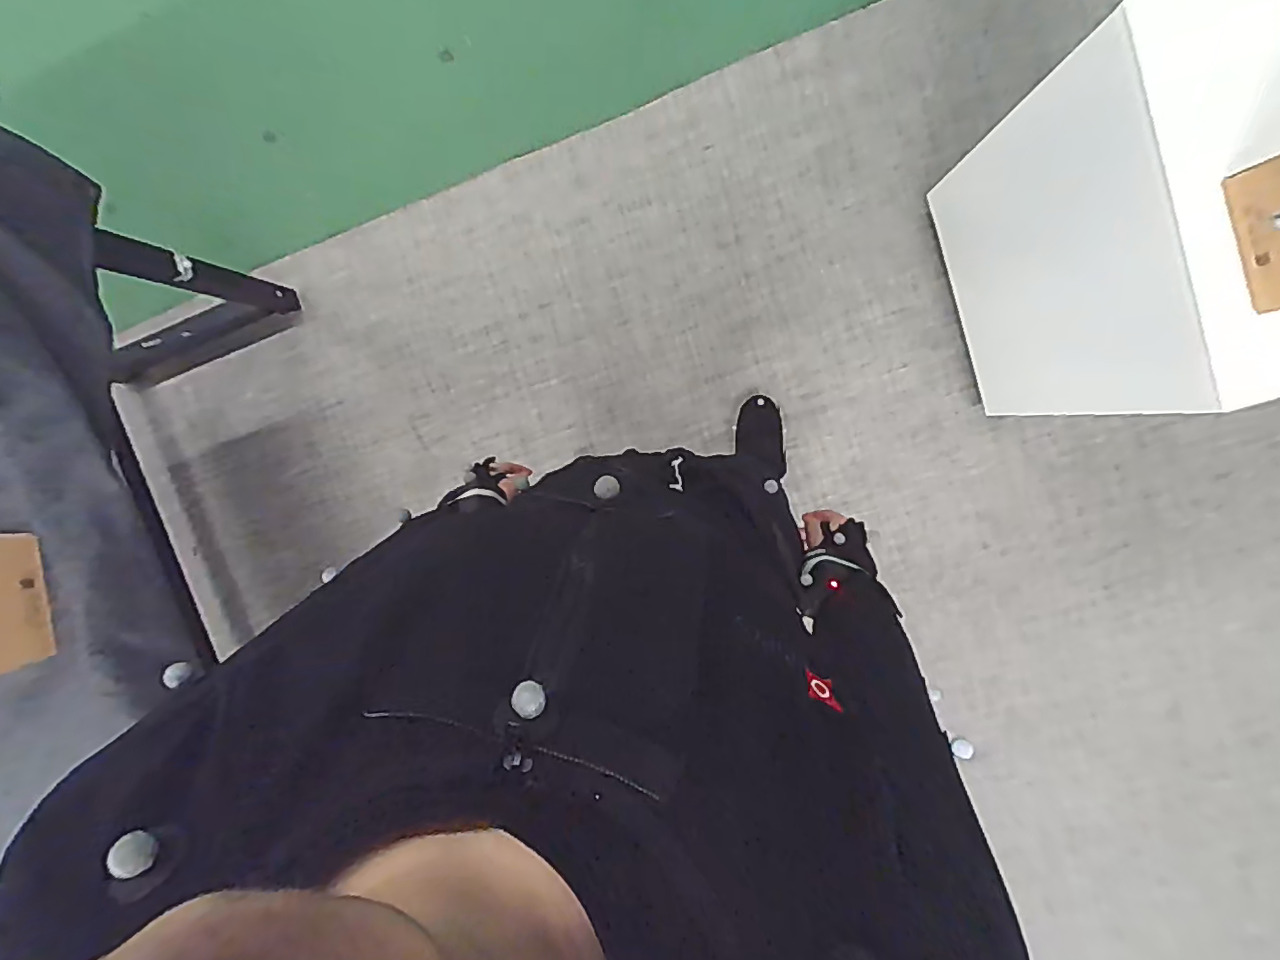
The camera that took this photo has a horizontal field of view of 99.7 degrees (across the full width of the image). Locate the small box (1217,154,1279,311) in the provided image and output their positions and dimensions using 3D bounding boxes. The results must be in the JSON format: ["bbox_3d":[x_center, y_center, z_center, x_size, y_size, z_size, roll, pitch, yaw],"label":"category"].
[{"bbox_3d":[0.780,-0.293,0.559,0.179,0.176,0.168,-19,95,8],"label":"small box"}]
